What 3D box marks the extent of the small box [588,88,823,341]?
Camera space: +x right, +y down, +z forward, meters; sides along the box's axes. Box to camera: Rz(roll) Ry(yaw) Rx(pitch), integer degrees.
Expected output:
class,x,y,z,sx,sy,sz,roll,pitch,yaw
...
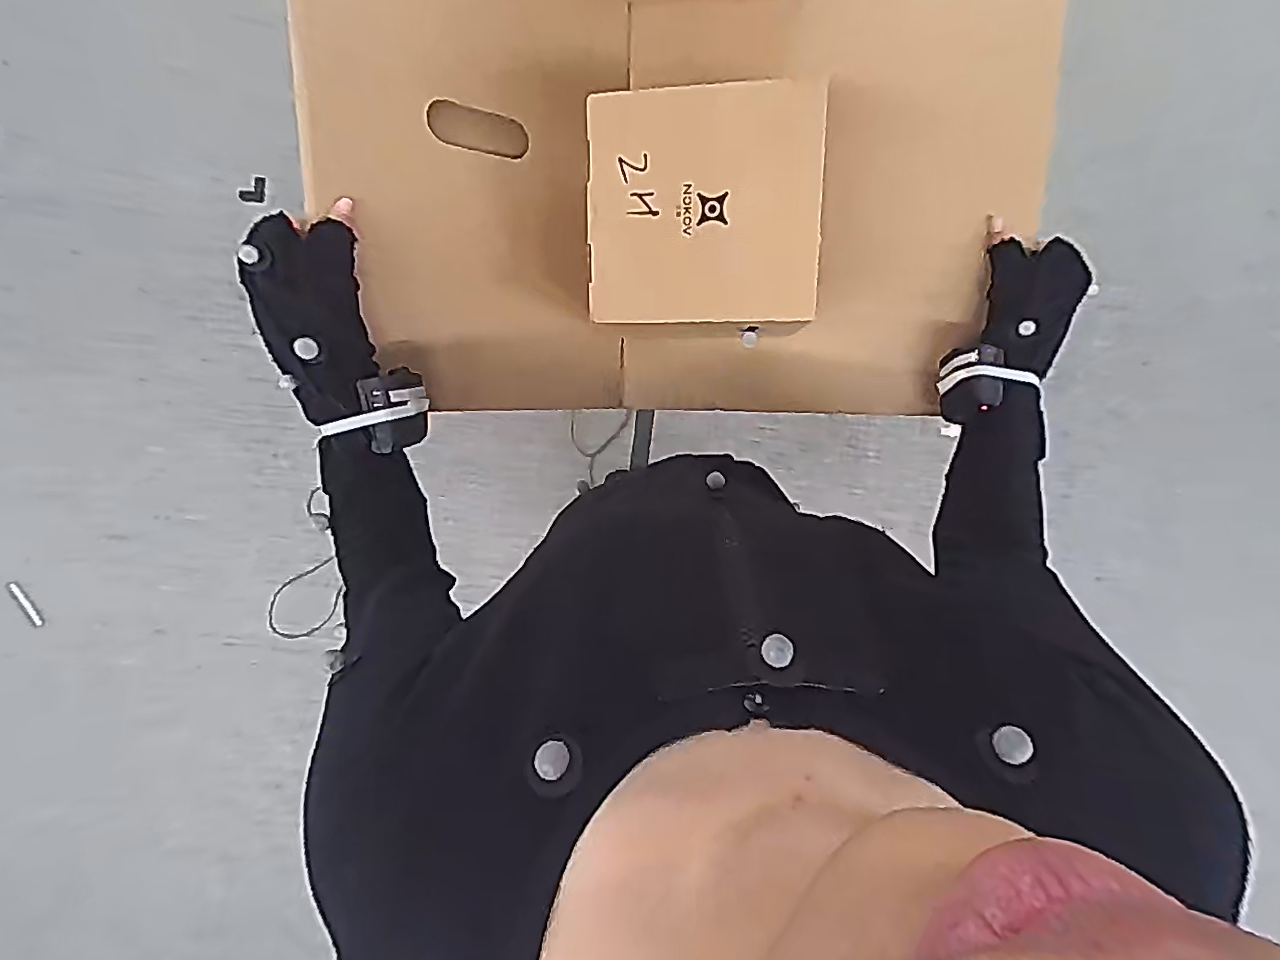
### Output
class,x,y,z,sx,sy,sz,roll,pitch,yaw
small box,0.057,-0.219,0.491,0.179,0.176,0.168,2,100,9
